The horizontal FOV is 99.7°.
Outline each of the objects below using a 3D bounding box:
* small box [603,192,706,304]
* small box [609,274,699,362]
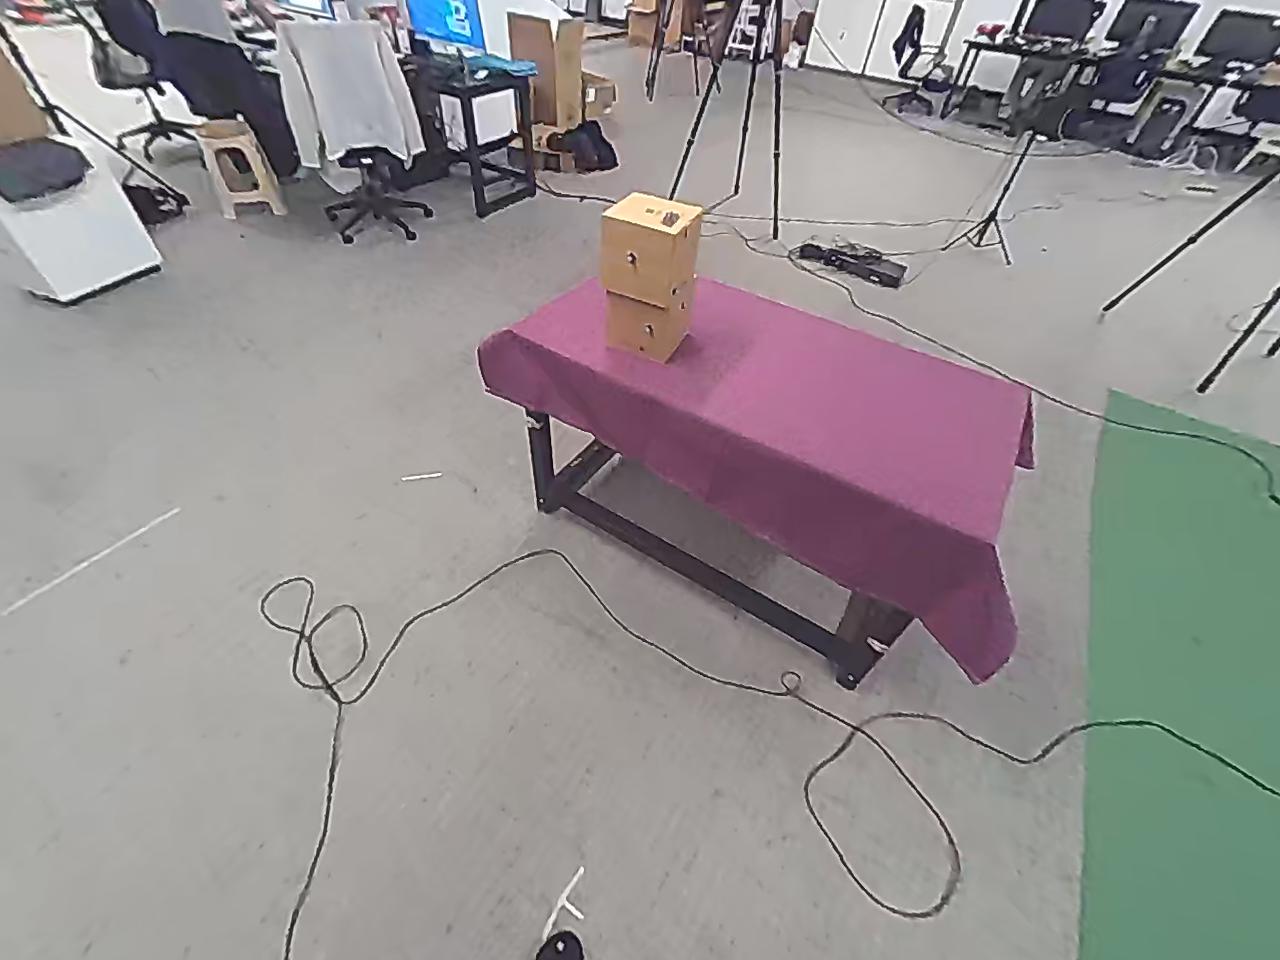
[{"bbox_3d":[0.029,-0.522,1.225,0.179,0.176,0.168,22,49,15],"label":"small box"},{"bbox_3d":[0.033,-0.424,1.359,0.168,0.176,0.179,23,48,15],"label":"small box"}]
